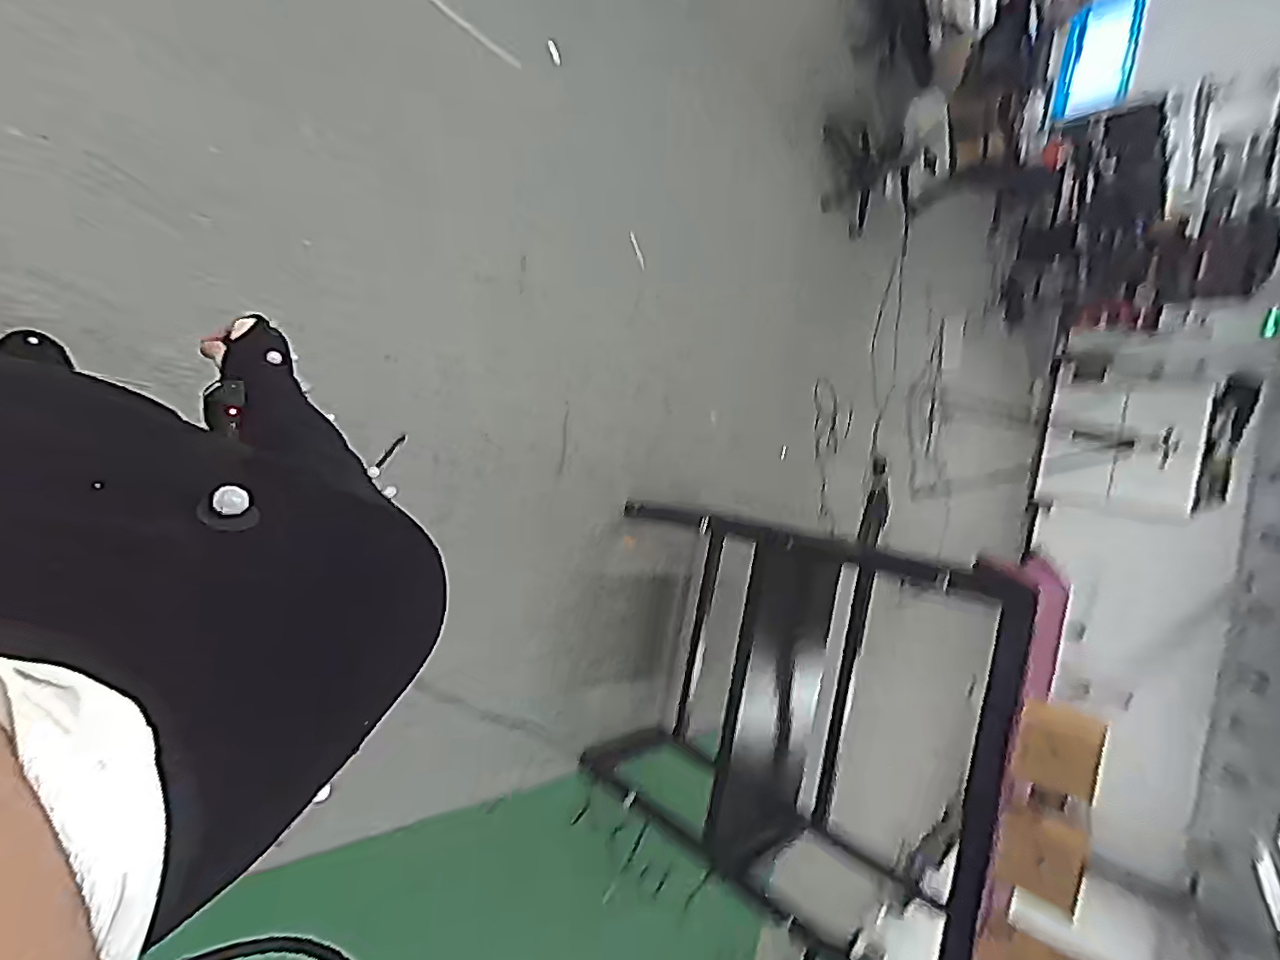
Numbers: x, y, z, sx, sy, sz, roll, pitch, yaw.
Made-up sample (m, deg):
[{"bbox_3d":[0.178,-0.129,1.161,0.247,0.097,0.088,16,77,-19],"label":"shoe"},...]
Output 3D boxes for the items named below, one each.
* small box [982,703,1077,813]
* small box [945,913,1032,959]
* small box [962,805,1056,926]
[{"bbox_3d":[0.995,0.699,1.383,0.179,0.176,0.168,3,96,-49],"label":"small box"},{"bbox_3d":[0.890,1.270,1.393,0.168,0.176,0.179,16,86,-48],"label":"small box"},{"bbox_3d":[0.941,0.965,1.381,0.168,0.176,0.179,13,88,-48],"label":"small box"}]
